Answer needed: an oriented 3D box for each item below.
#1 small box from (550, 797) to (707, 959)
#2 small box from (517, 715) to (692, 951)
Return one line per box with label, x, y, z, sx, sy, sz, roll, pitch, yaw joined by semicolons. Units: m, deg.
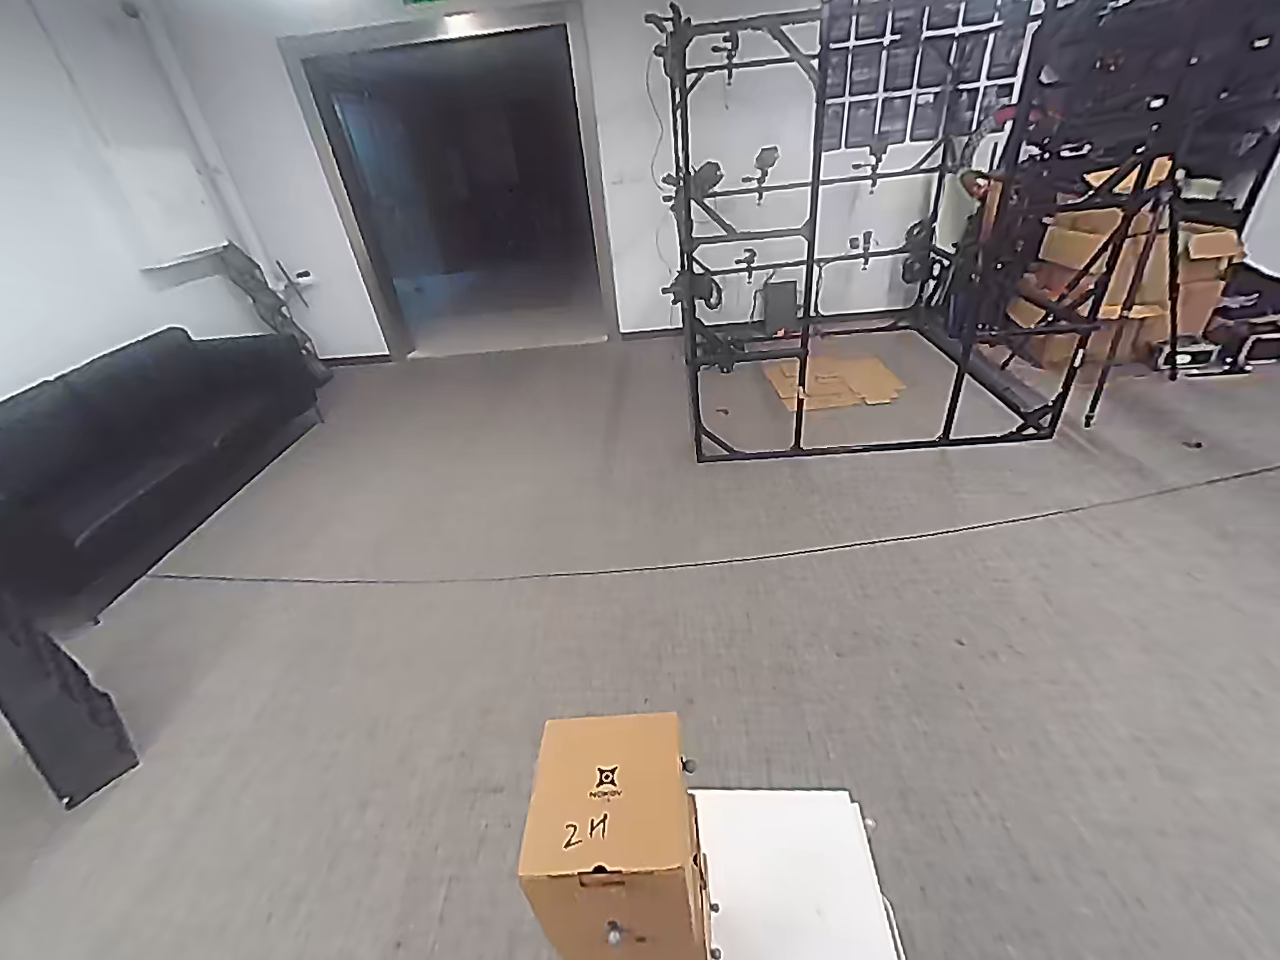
small box;-0.005;0.547;0.710;0.179;0.176;0.168;-6;30;4
small box;-0.029;0.404;0.630;0.168;0.176;0.179;-5;31;5
